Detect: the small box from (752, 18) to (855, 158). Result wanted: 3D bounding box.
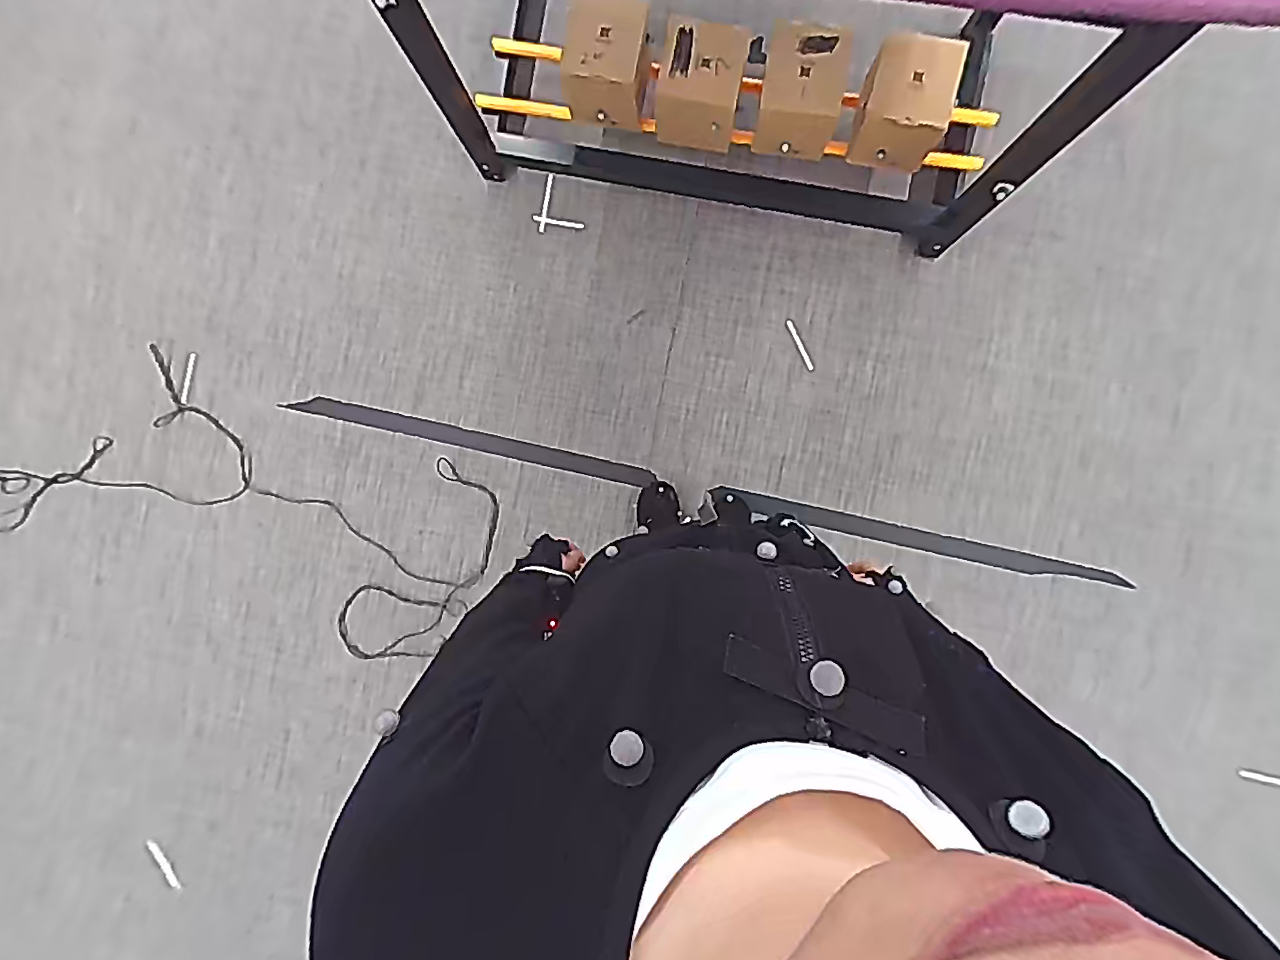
[{"bbox_3d":[0.346,-0.842,1.175,0.168,0.176,0.179,10,94,4],"label":"small box"}]

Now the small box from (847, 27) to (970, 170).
[{"bbox_3d":[0.563,-0.807,1.158,0.168,0.176,0.179,13,93,5],"label":"small box"}]

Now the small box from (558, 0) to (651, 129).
[{"bbox_3d":[-0.072,-0.927,1.198,0.168,0.176,0.179,12,93,4],"label":"small box"}]
